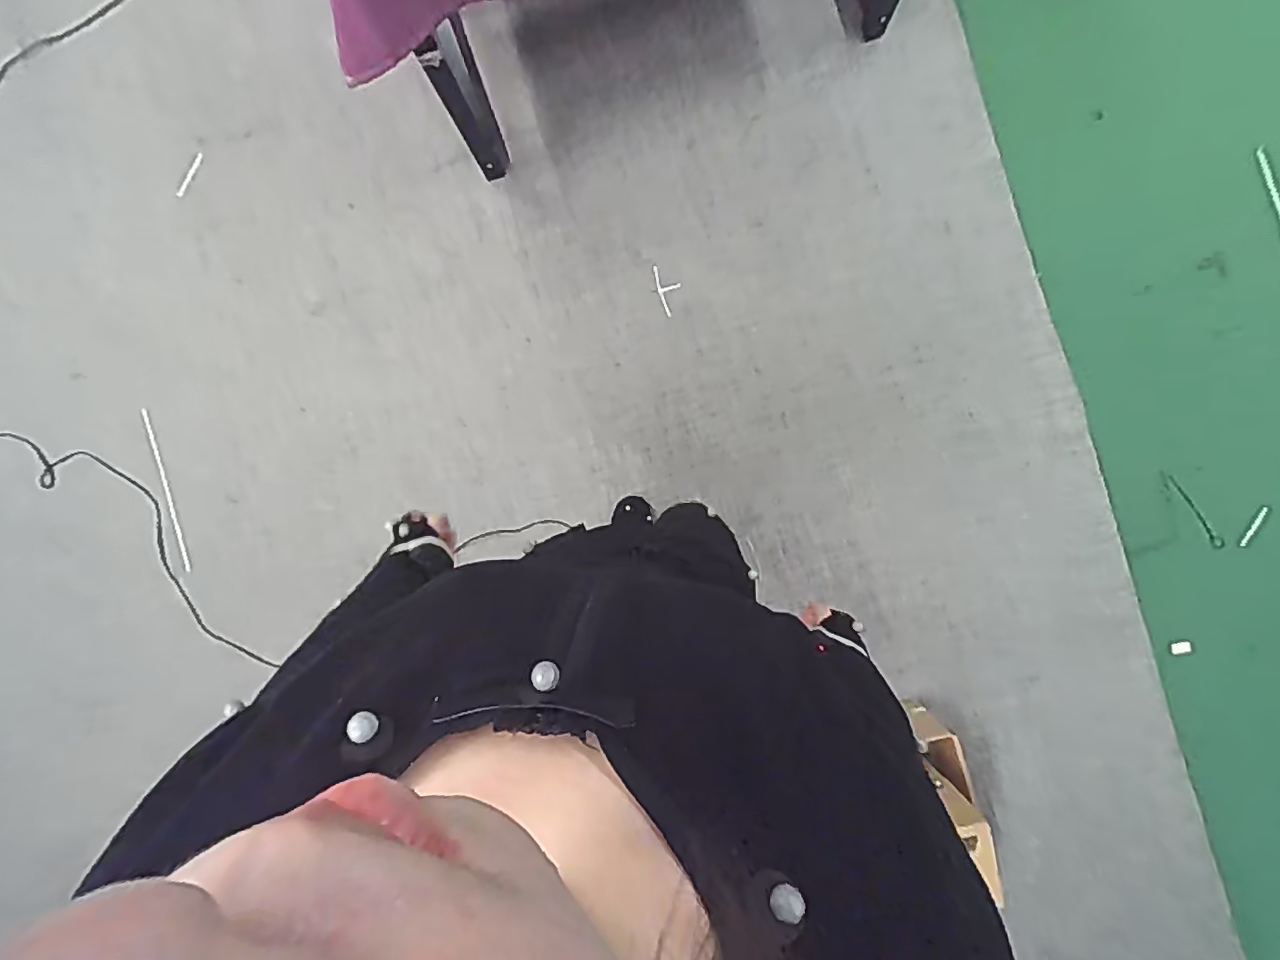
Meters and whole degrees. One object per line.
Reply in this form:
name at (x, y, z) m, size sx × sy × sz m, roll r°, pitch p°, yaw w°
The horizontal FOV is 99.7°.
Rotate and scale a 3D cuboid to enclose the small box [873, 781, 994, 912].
small box at (0.628, 0.786, 1.181) m, size 0.168 × 0.176 × 0.179 m, roll -9°, pitch 90°, yaw 3°
